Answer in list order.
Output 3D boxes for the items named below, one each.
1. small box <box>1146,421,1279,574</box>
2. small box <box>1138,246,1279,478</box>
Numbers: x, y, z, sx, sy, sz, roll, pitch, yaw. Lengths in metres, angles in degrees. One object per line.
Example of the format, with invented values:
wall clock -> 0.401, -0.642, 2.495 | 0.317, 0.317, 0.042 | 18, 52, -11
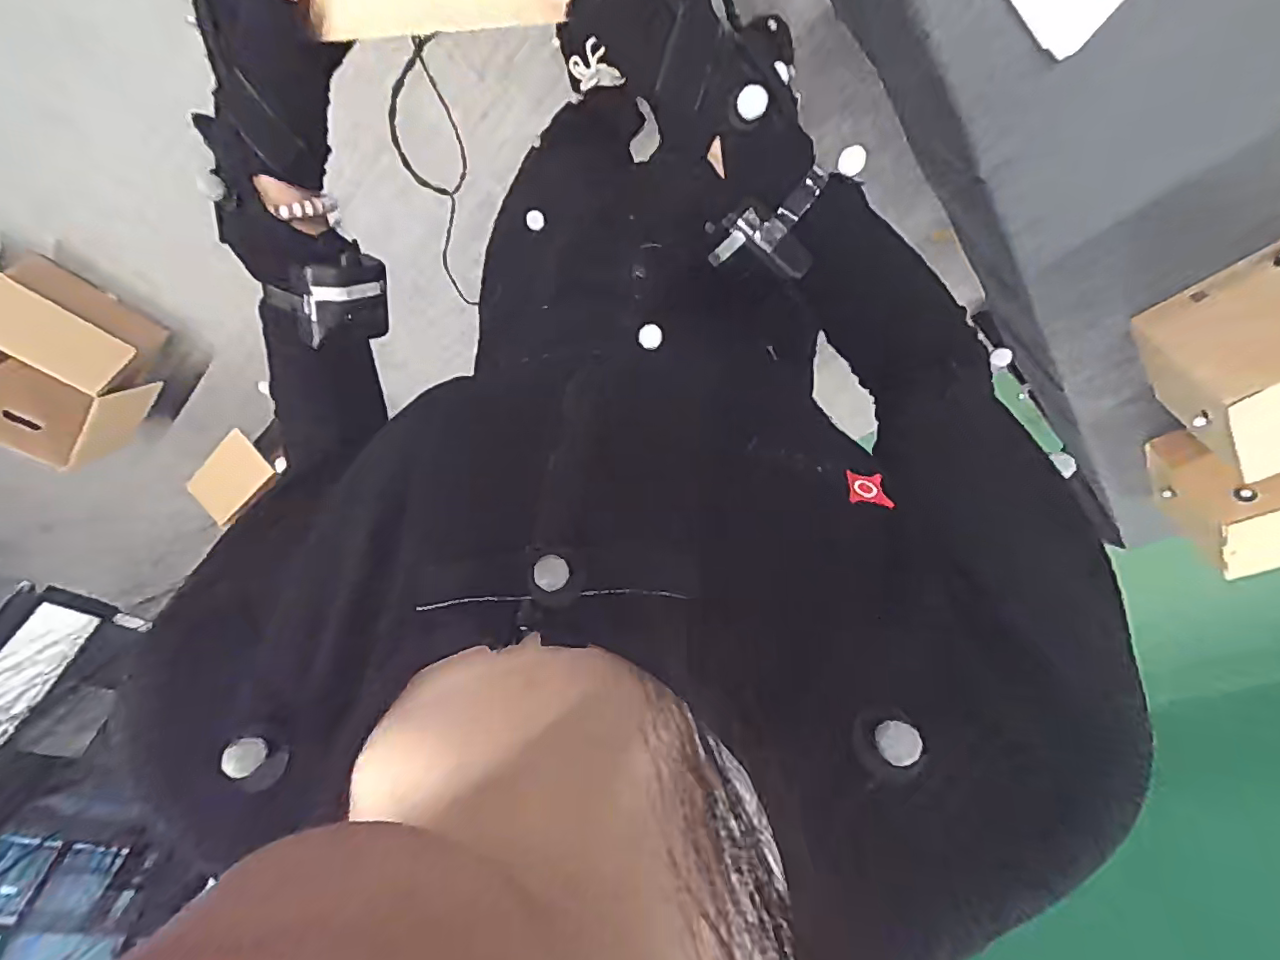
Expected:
small box -> 0.880, 0.001, 0.768 | 0.179, 0.176, 0.168 | -28, 130, 27
small box -> 0.721, -0.140, 0.614 | 0.168, 0.176, 0.179 | -34, 128, 31
